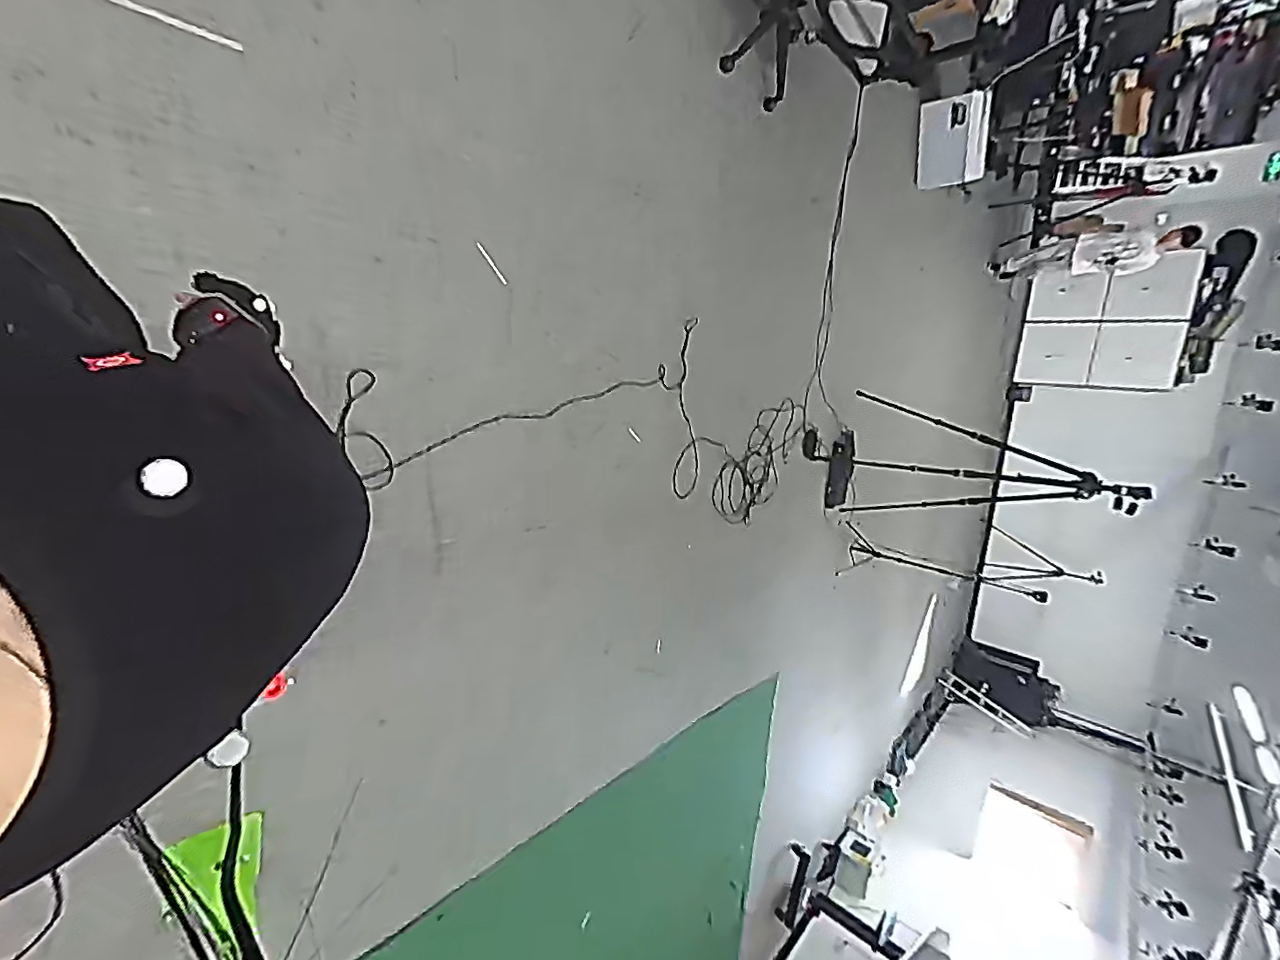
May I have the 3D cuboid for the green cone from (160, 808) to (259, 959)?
[{"bbox_3d":[-0.962,0.993,1.265,0.200,0.368,0.202,-3,102,-49],"label":"green cone"}]
